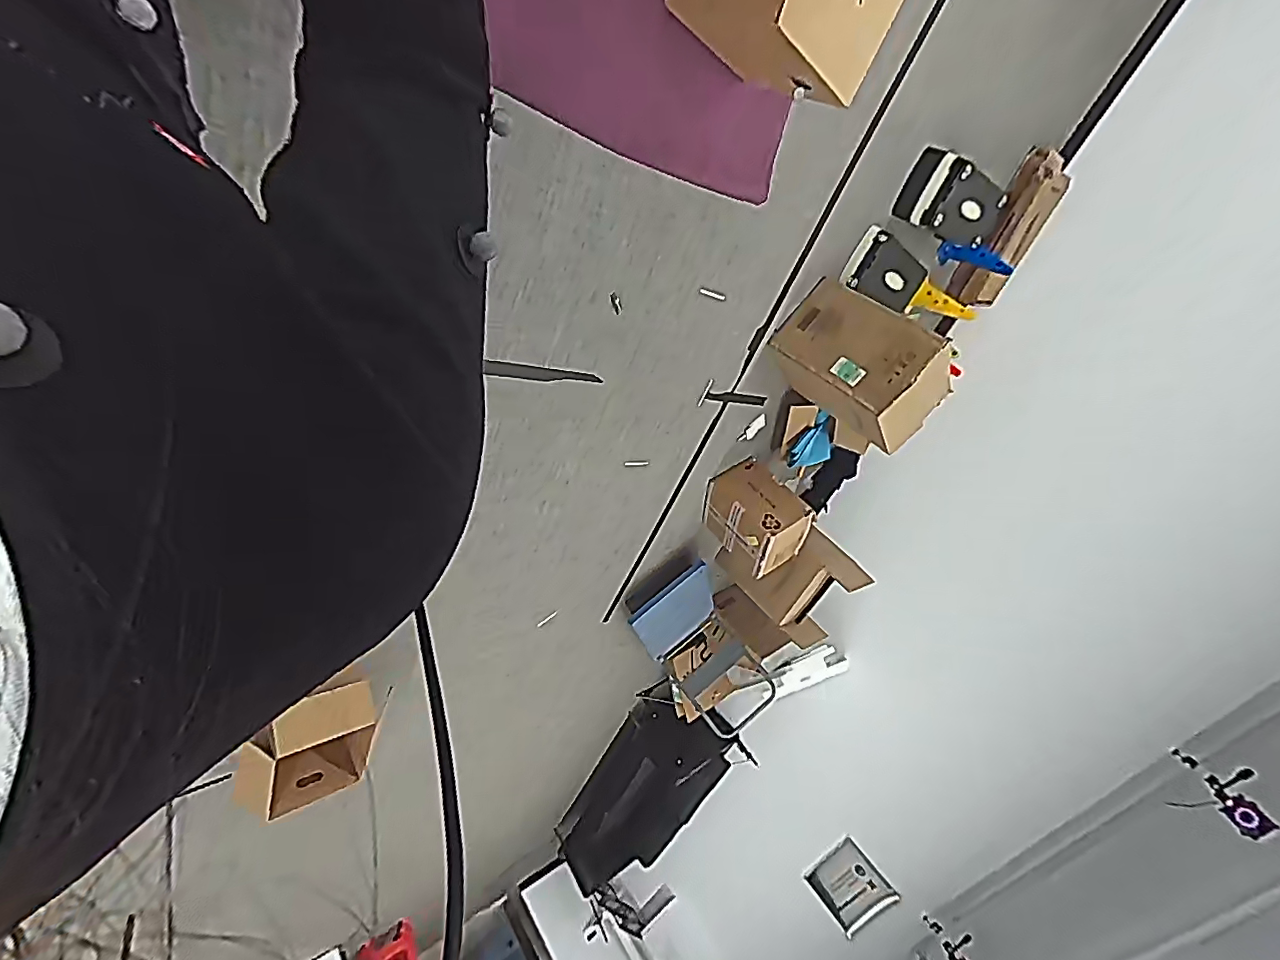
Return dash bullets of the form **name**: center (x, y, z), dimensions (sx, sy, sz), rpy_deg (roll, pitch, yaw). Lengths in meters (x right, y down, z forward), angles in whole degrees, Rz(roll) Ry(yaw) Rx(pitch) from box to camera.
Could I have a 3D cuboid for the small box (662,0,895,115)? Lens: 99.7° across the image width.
- **small box**: center (0.159, -0.544, 0.592), dimensions (0.179, 0.176, 0.168), rpy_deg (-2, 126, -47)
